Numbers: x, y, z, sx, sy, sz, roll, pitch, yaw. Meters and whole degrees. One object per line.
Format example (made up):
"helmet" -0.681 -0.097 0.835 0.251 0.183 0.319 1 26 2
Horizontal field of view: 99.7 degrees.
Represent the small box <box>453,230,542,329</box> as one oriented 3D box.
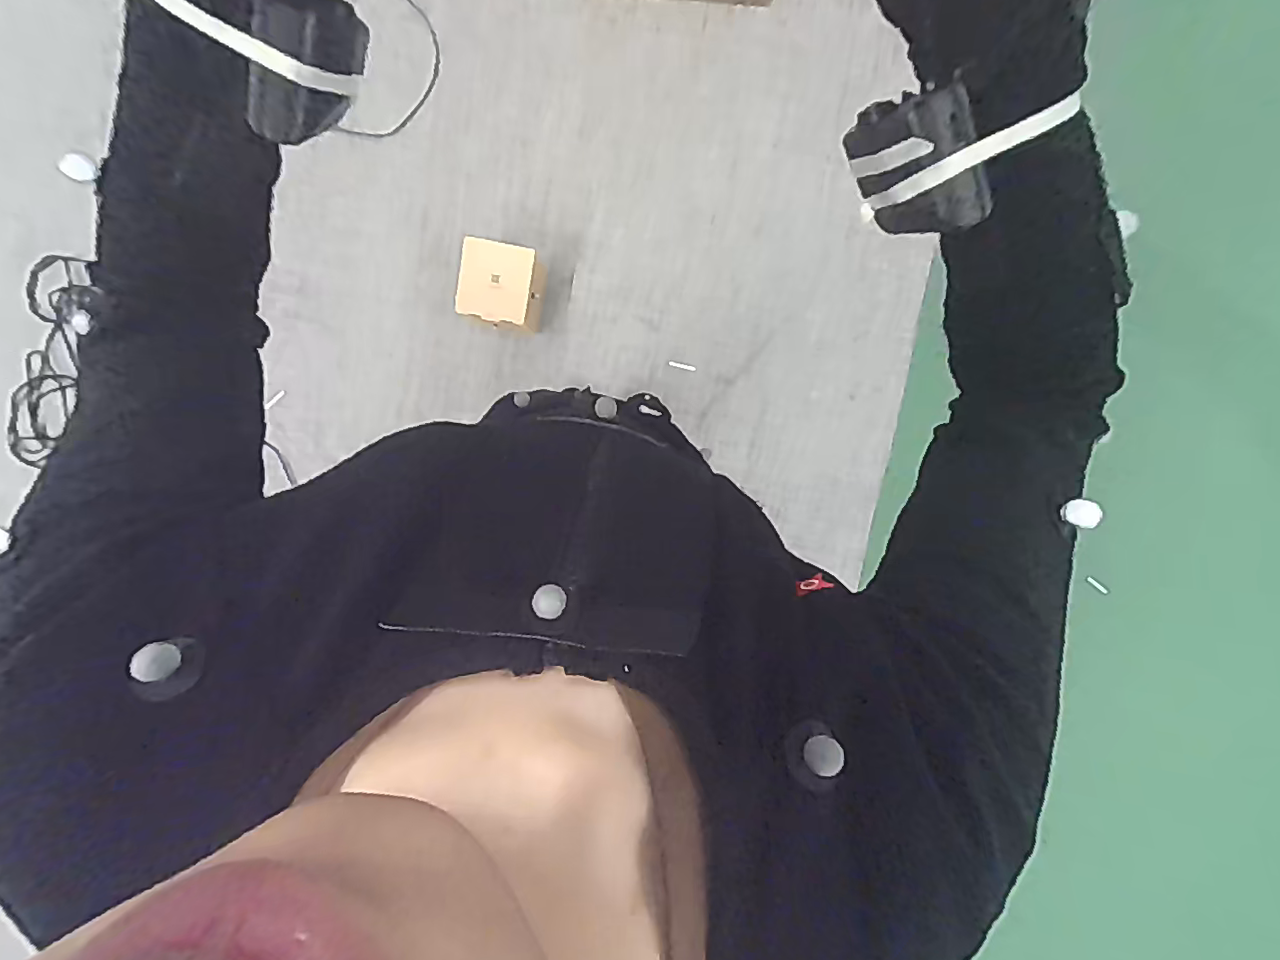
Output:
"small box" -0.342 -0.482 1.325 0.168 0.176 0.179 10 97 -2
